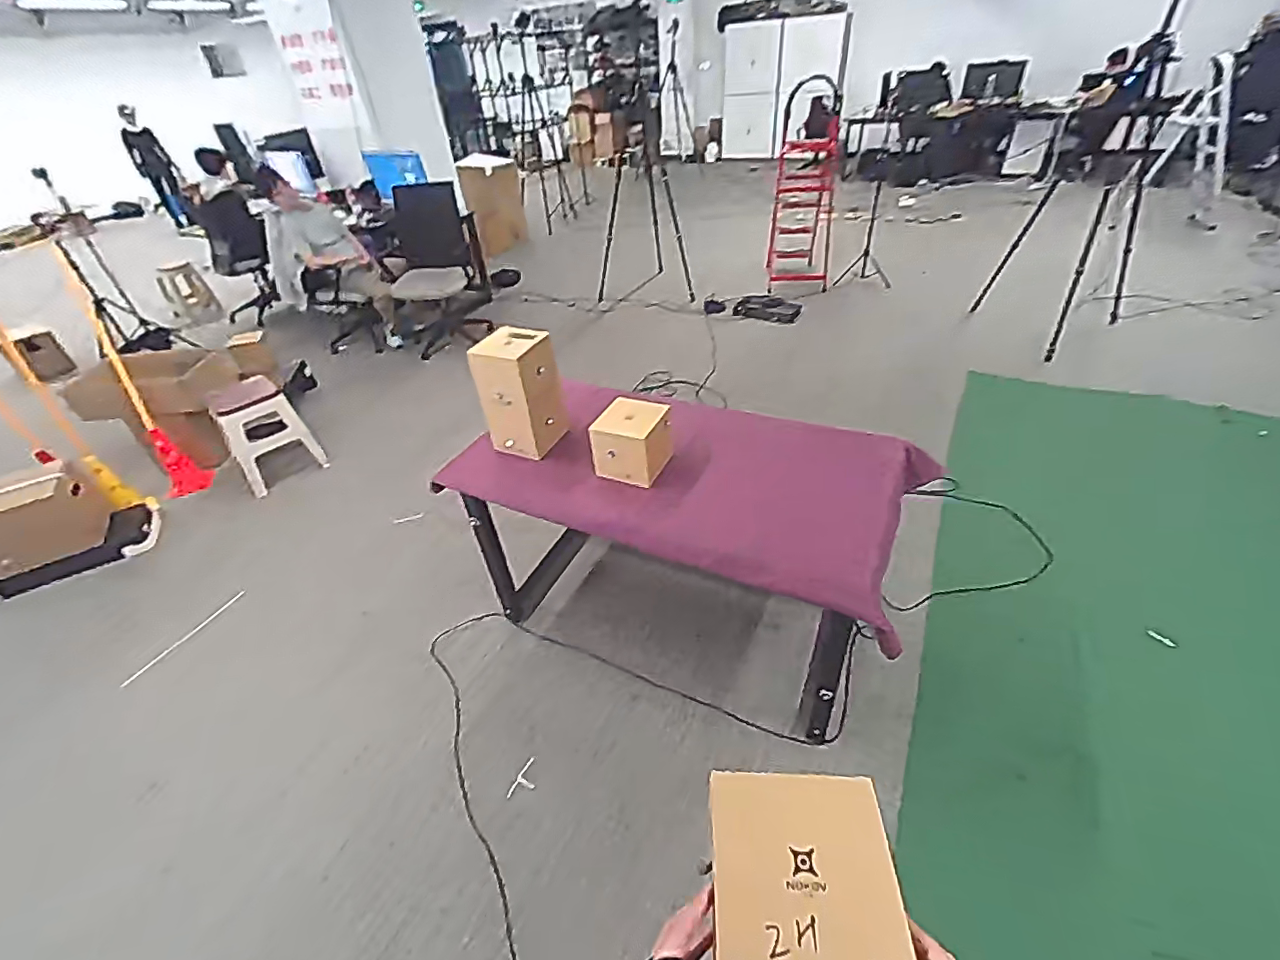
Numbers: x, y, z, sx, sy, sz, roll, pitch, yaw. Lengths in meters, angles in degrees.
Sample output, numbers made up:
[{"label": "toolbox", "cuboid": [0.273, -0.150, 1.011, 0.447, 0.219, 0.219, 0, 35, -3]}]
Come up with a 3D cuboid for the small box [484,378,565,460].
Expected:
[{"label": "small box", "cuboid": [-0.343, -0.186, 1.644, 0.168, 0.176, 0.179, 13, 42, 21]}]

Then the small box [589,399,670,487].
[{"label": "small box", "cuboid": [-0.020, -0.102, 1.508, 0.168, 0.176, 0.179, 13, 41, 22]}]
